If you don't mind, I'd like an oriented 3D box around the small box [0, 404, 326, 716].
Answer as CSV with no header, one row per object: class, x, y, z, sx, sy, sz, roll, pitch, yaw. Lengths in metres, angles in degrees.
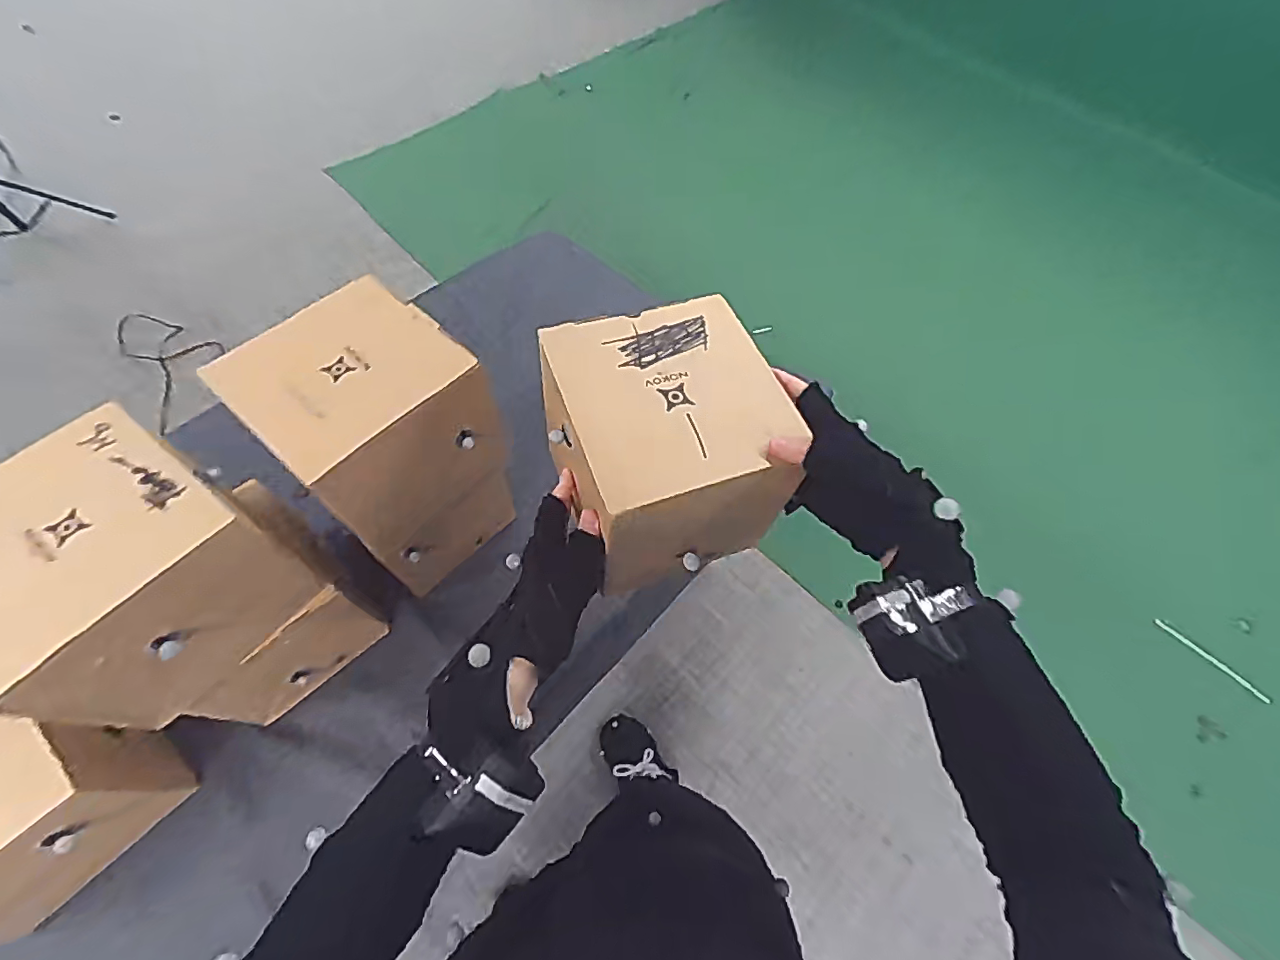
small box,-0.419,0.078,0.461,0.168,0.176,0.179,36,66,13
